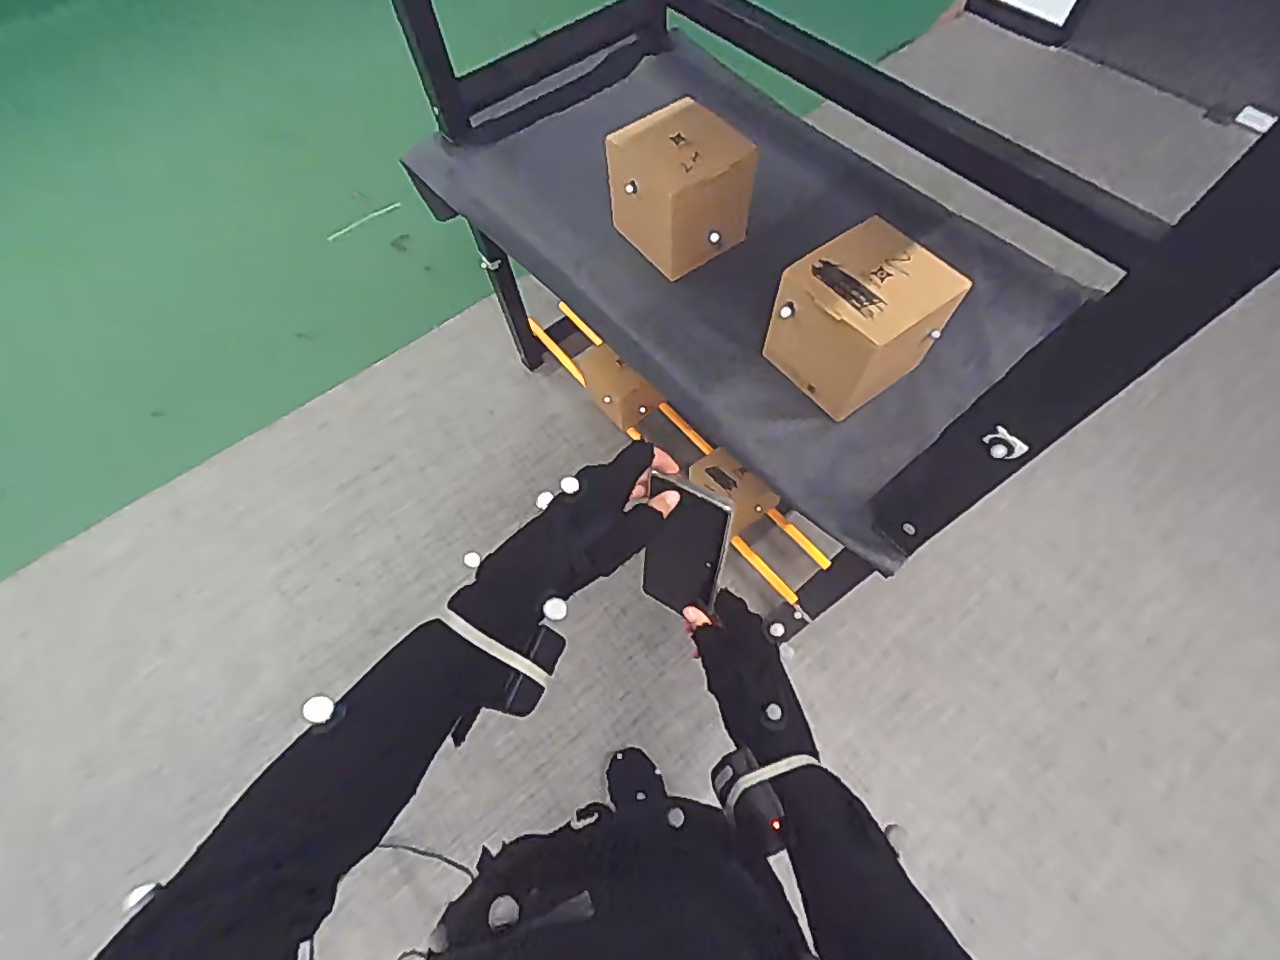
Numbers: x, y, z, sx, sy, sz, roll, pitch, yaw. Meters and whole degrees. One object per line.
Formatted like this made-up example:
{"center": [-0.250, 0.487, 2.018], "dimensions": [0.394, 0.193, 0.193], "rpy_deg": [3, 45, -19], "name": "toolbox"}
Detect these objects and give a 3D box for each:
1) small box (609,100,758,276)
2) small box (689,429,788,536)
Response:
{"center": [0.066, -0.480, 0.901], "dimensions": [0.168, 0.176, 0.179], "rpy_deg": [-34, 68, -13], "name": "small box"}
{"center": [0.238, 0.014, 1.348], "dimensions": [0.179, 0.176, 0.168], "rpy_deg": [-34, 68, -12], "name": "small box"}
